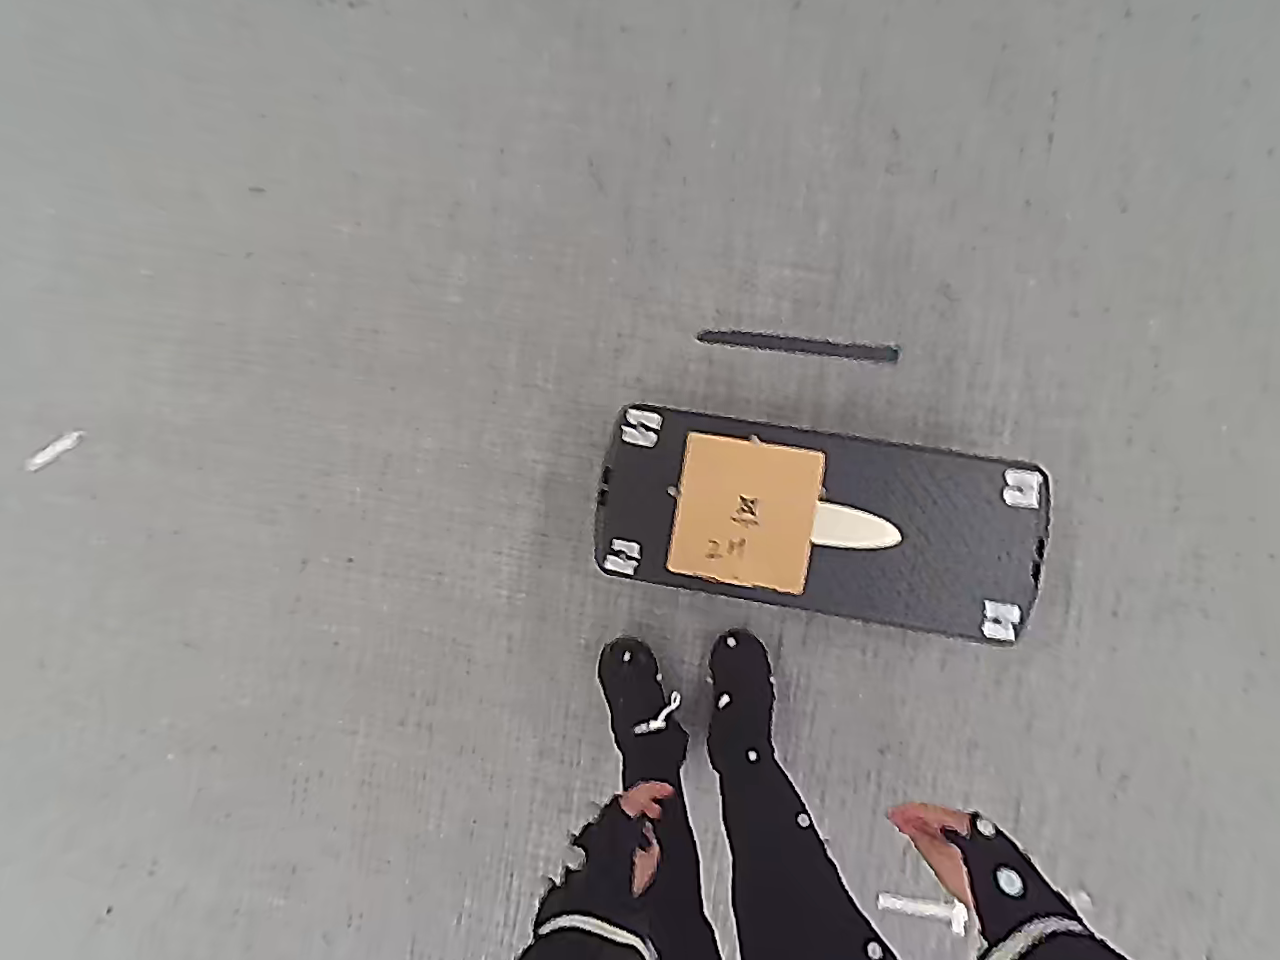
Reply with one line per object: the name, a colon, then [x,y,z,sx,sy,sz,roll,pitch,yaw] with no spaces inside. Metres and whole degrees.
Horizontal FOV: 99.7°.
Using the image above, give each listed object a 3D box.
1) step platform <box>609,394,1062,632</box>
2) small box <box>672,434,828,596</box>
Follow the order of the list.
step platform: [0.291,0.046,0.899,0.684,0.204,0.286,9,90,6]
small box: [0.140,0.043,0.738,0.168,0.176,0.179,10,91,6]
